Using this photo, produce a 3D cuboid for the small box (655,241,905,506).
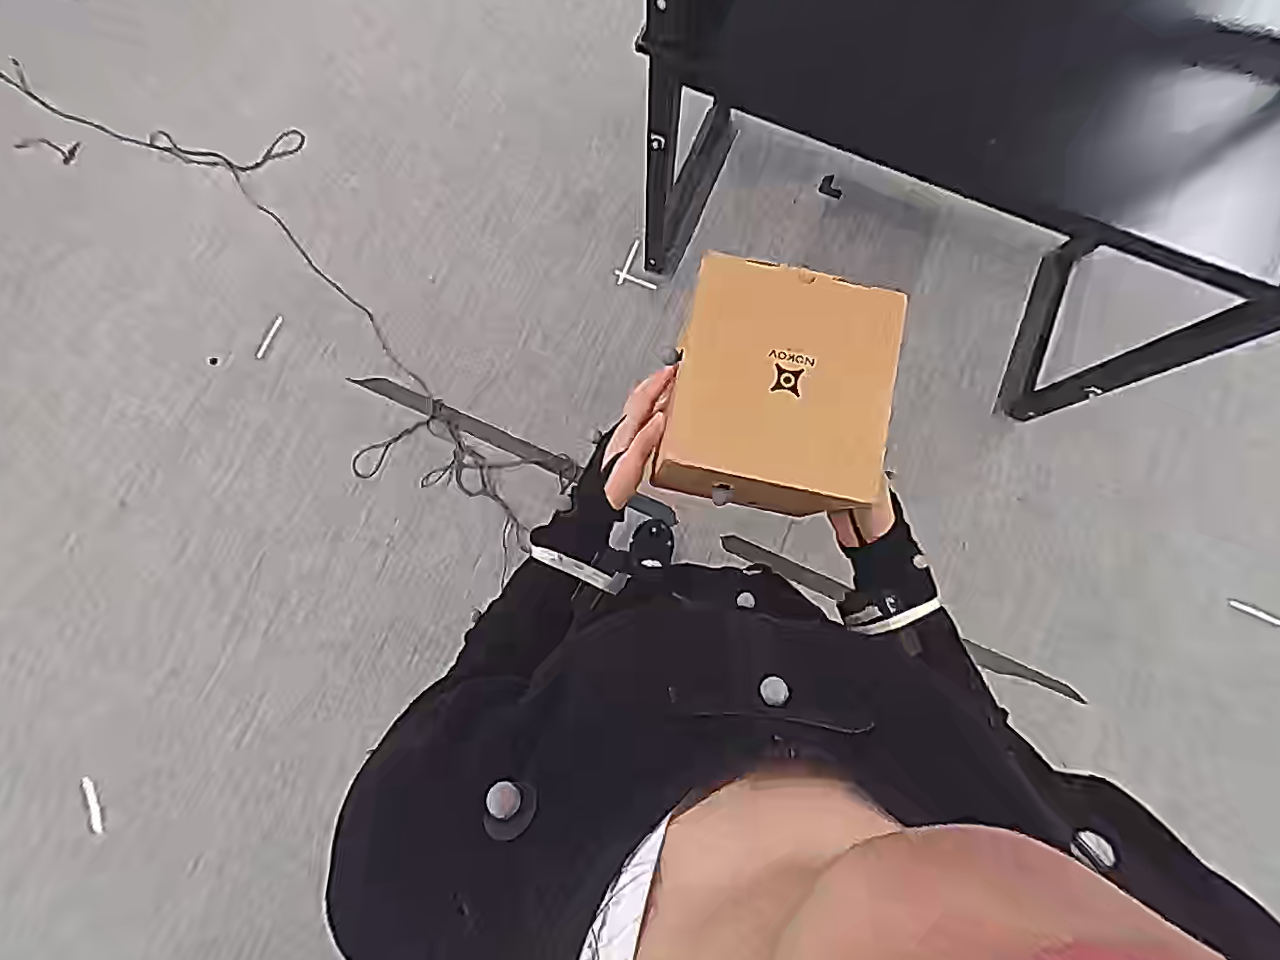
[{"bbox_3d":[0.110,-0.078,0.493,0.168,0.176,0.179,12,82,-1],"label":"small box"}]
